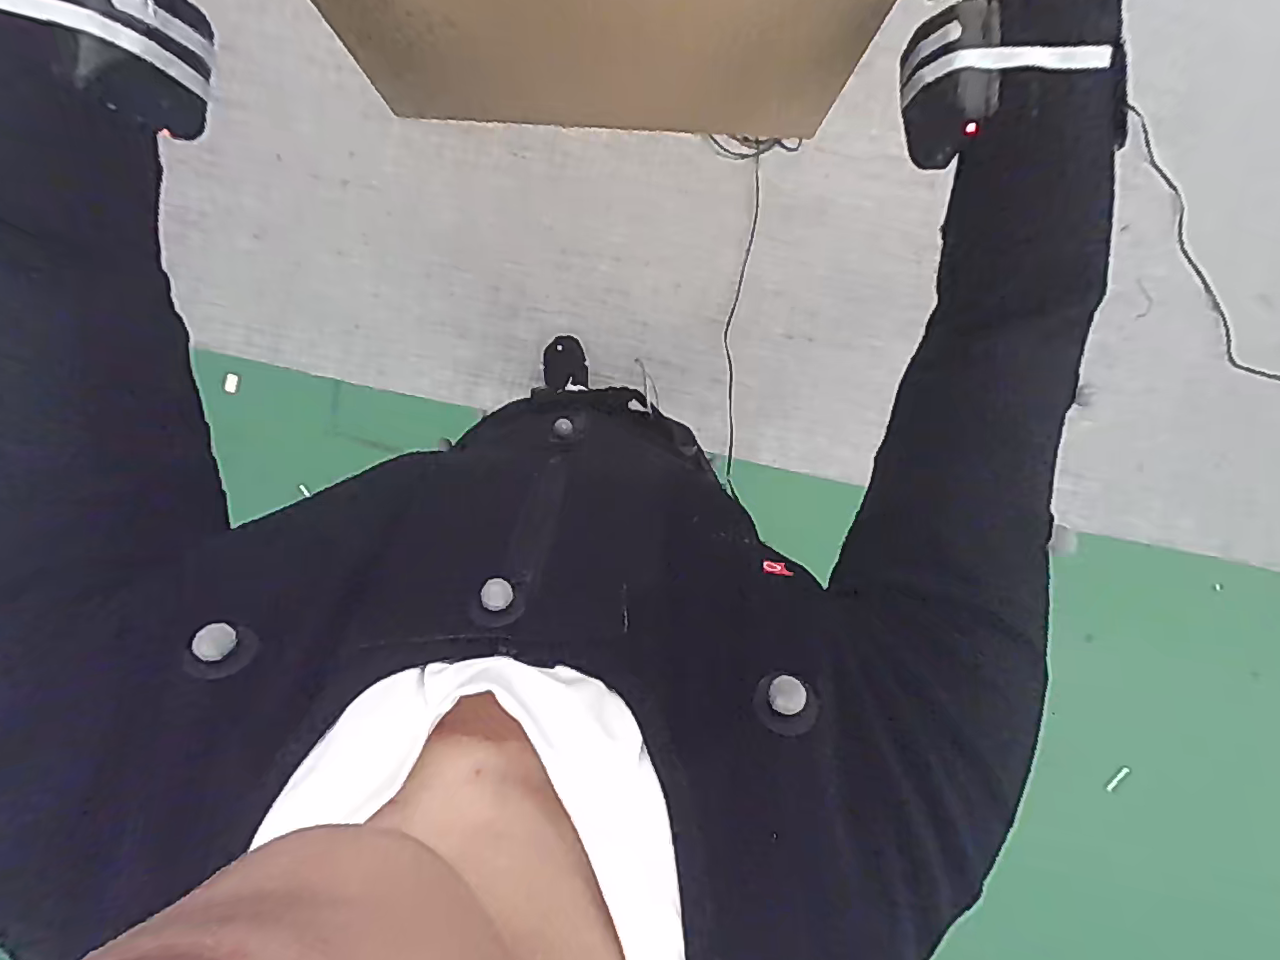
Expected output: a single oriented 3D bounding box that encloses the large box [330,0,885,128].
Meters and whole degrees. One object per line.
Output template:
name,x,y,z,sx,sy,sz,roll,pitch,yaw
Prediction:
large box,-0.023,-0.485,0.363,0.408,0.320,0.320,1,95,-3
